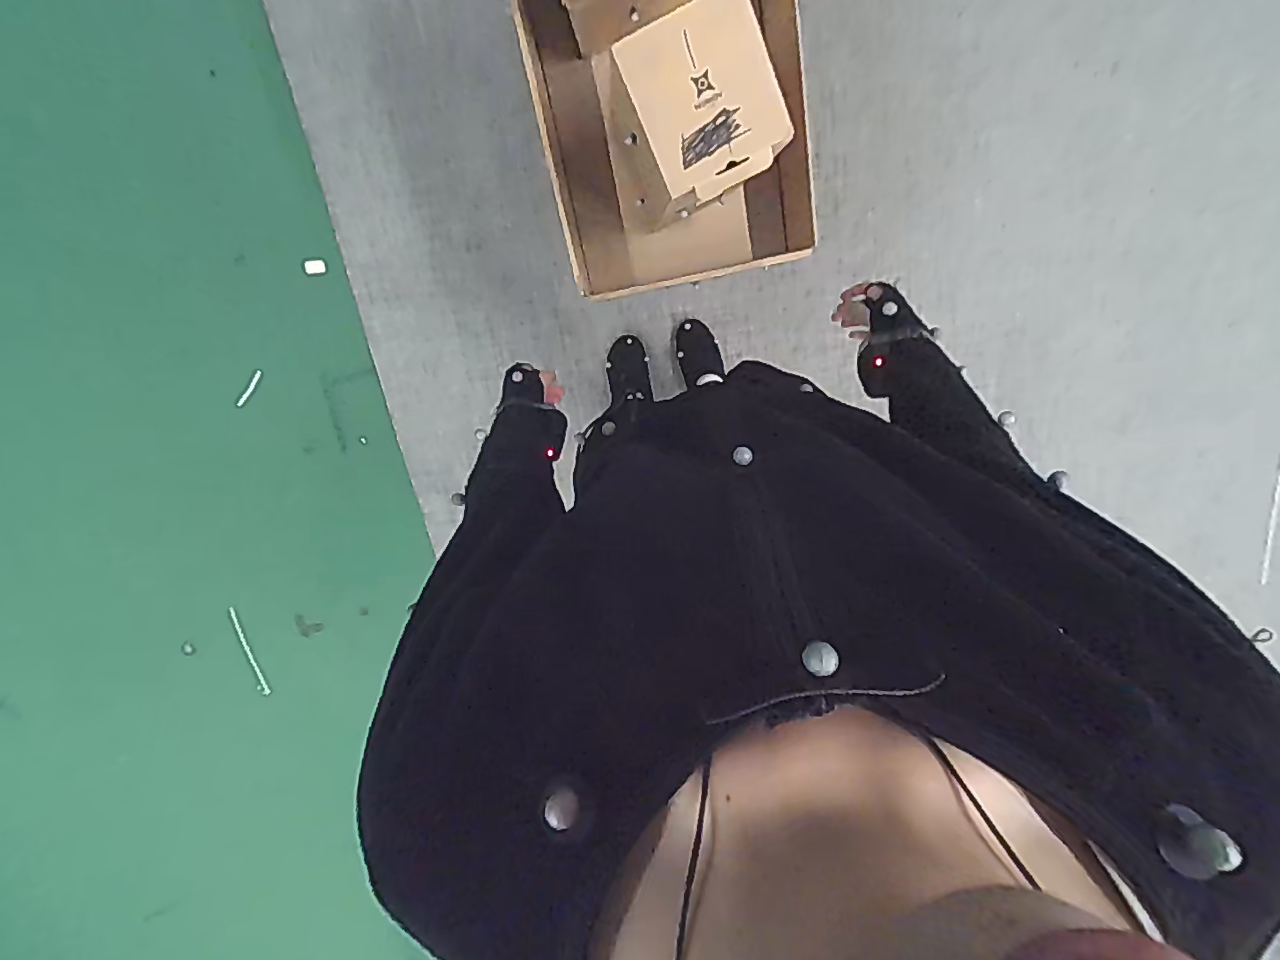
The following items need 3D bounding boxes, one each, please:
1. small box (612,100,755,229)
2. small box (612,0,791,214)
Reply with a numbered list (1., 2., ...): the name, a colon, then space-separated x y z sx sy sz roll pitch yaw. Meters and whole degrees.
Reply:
1. small box: 0.066 -0.524 0.868 0.168 0.176 0.179 -24 106 5
2. small box: 0.074 -0.473 0.712 0.168 0.176 0.179 -25 105 5
